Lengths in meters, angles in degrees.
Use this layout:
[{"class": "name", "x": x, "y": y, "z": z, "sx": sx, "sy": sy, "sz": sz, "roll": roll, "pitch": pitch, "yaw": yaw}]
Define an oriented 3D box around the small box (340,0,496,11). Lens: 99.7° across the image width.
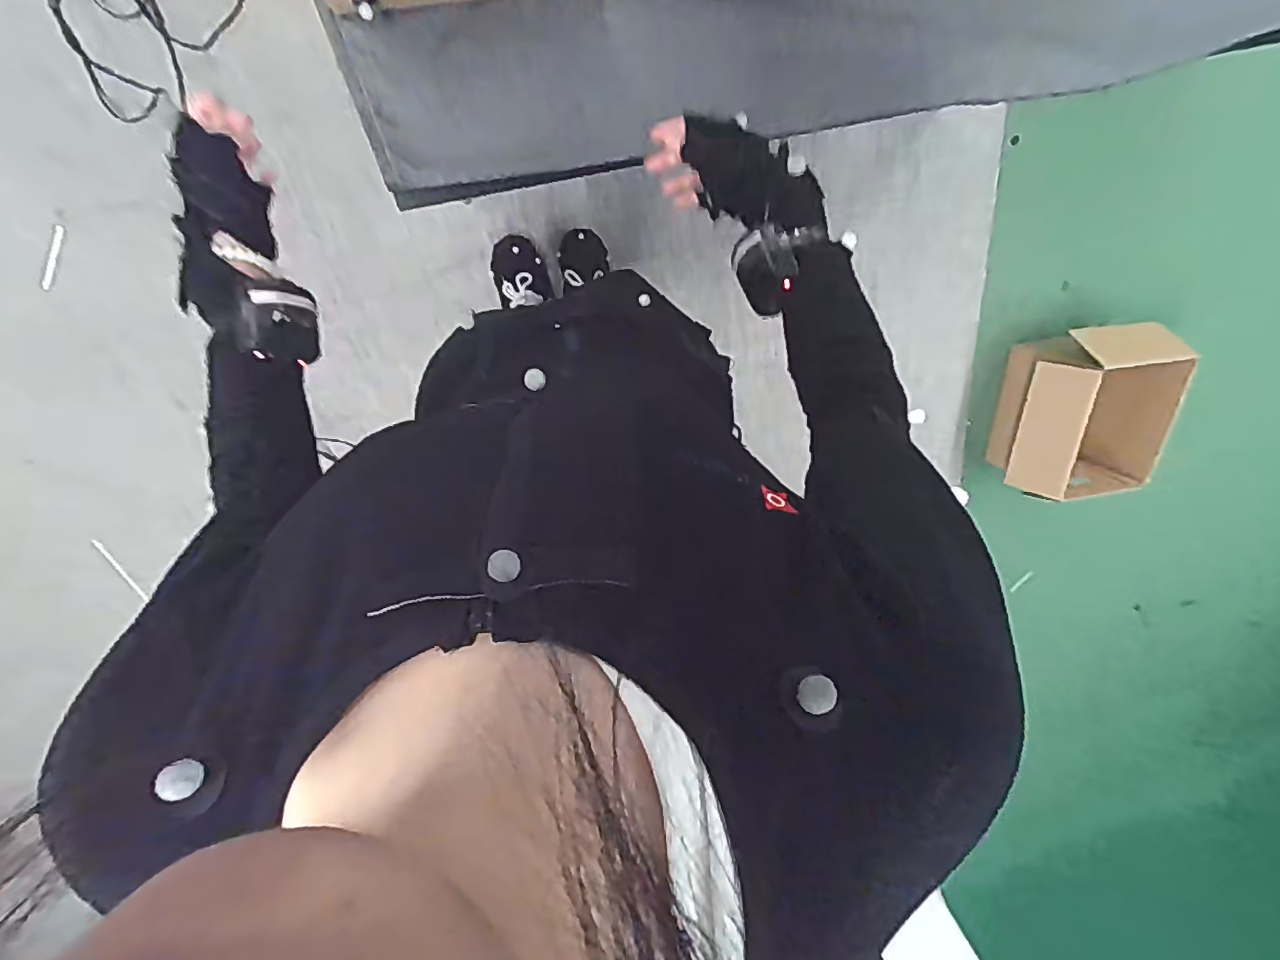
[{"class": "small box", "x": -0.196, "y": -0.489, "z": 0.404, "sx": 0.168, "sy": 0.176, "sz": 0.179, "roll": -13, "pitch": 115, "yaw": -7}]
